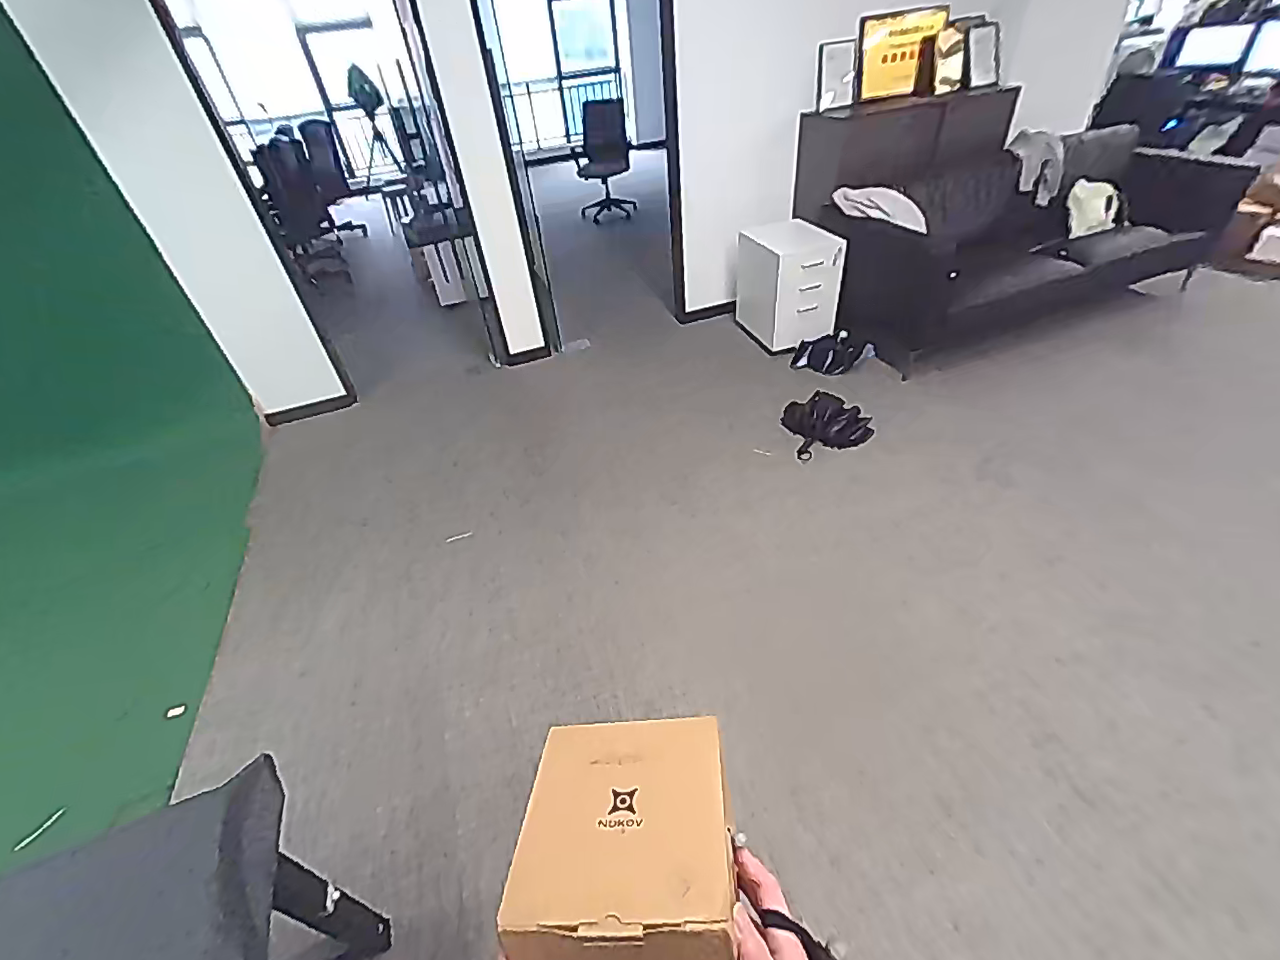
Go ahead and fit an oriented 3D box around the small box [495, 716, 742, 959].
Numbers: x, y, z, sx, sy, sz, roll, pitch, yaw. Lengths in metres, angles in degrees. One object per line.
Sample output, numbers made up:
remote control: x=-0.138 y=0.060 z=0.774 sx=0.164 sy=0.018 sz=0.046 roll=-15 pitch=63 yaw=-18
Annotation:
small box: x=-0.003 y=0.339 z=0.470 sx=0.168 sy=0.176 sz=0.179 roll=-6 pitch=21 yaw=7
